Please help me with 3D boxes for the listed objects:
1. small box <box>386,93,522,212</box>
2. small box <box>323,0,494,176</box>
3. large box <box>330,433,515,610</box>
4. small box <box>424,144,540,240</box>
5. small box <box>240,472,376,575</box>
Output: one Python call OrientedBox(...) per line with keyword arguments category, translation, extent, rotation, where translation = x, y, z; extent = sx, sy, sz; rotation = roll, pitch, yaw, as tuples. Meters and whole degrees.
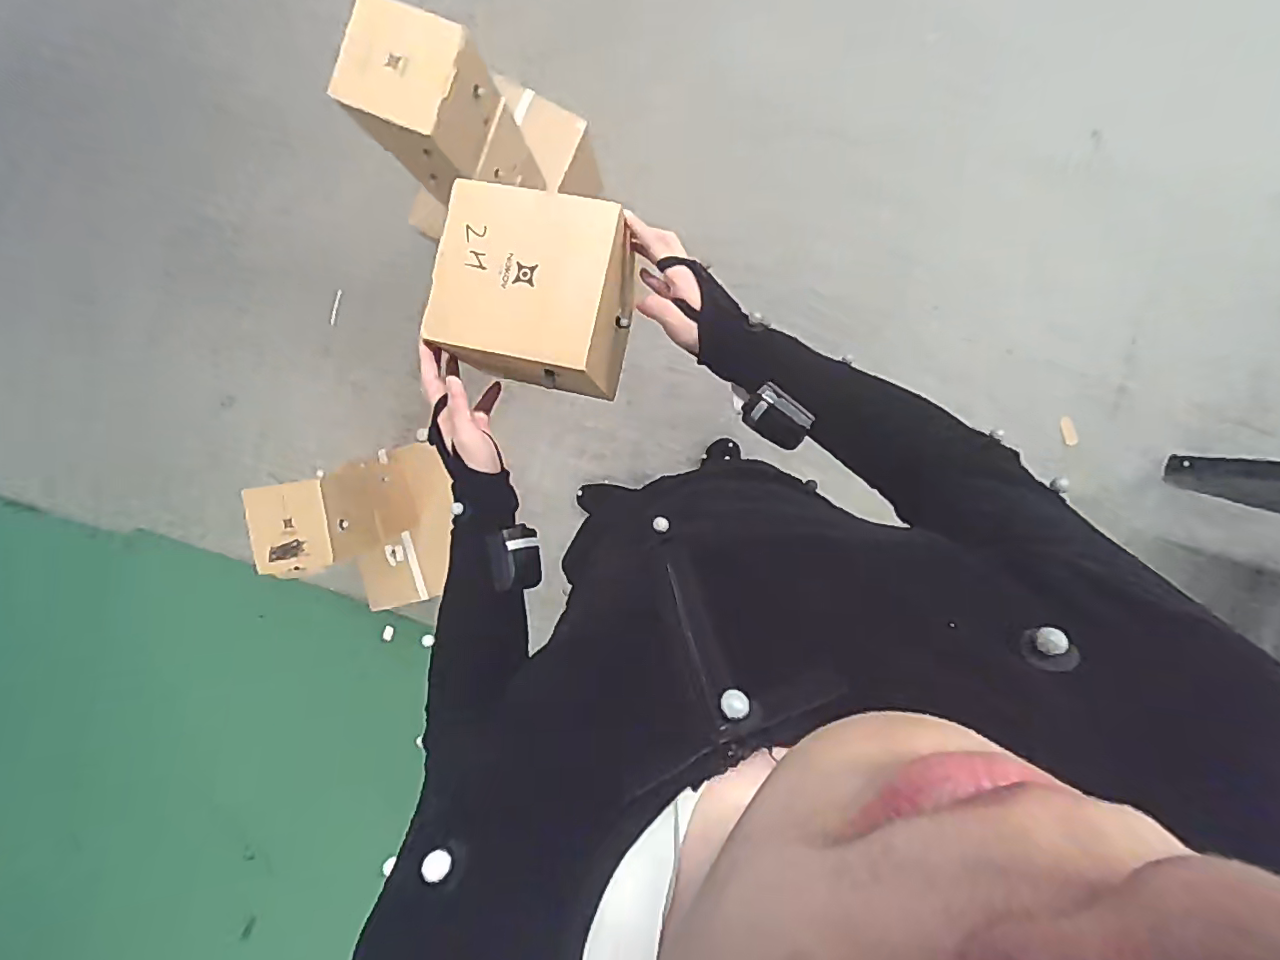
OrientedBox(category="small box", translation=(-0.349, -0.648, 1.044), extent=(0.179, 0.176, 0.168), rotation=(23, 97, 1))
OrientedBox(category="small box", translation=(-0.363, -0.632, 0.883), extent=(0.179, 0.176, 0.168), rotation=(22, 96, 2))
OrientedBox(category="large box", translation=(-0.595, 0.099, 1.545), extent=(0.320, 0.320, 0.408), rotation=(-15, 96, 6))
OrientedBox(category="small box", translation=(-0.342, -0.662, 1.206), extent=(0.179, 0.176, 0.168), rotation=(23, 96, 0))
OrientedBox(category="small box", translation=(-0.683, 0.085, 1.135), extent=(0.168, 0.176, 0.179), rotation=(-8, 95, 4))
